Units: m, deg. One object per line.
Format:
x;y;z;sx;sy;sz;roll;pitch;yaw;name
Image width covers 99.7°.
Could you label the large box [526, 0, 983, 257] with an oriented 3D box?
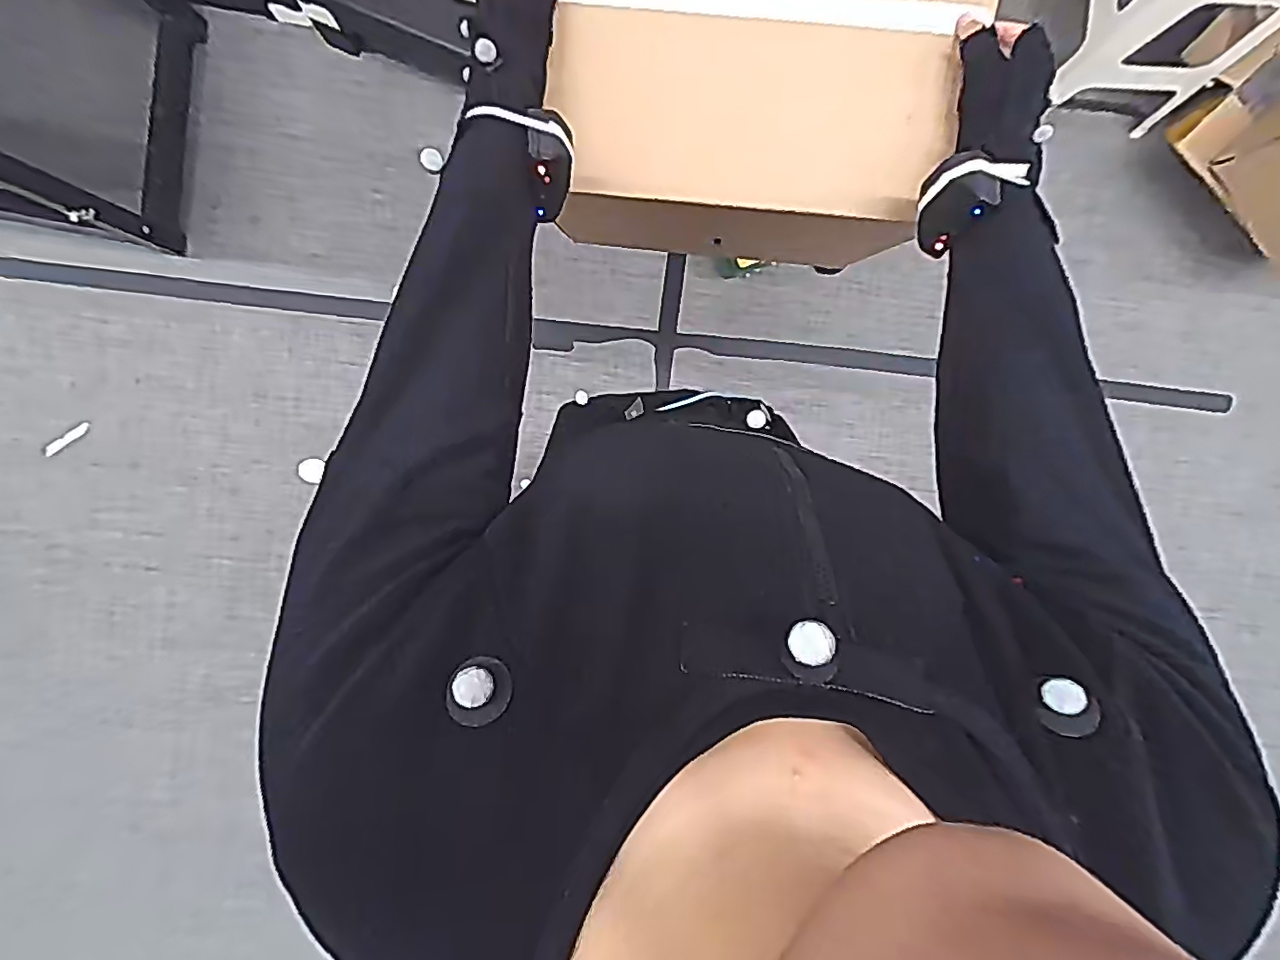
0.106;-0.450;0.623;0.408;0.320;0.320;6;104;1;large box
